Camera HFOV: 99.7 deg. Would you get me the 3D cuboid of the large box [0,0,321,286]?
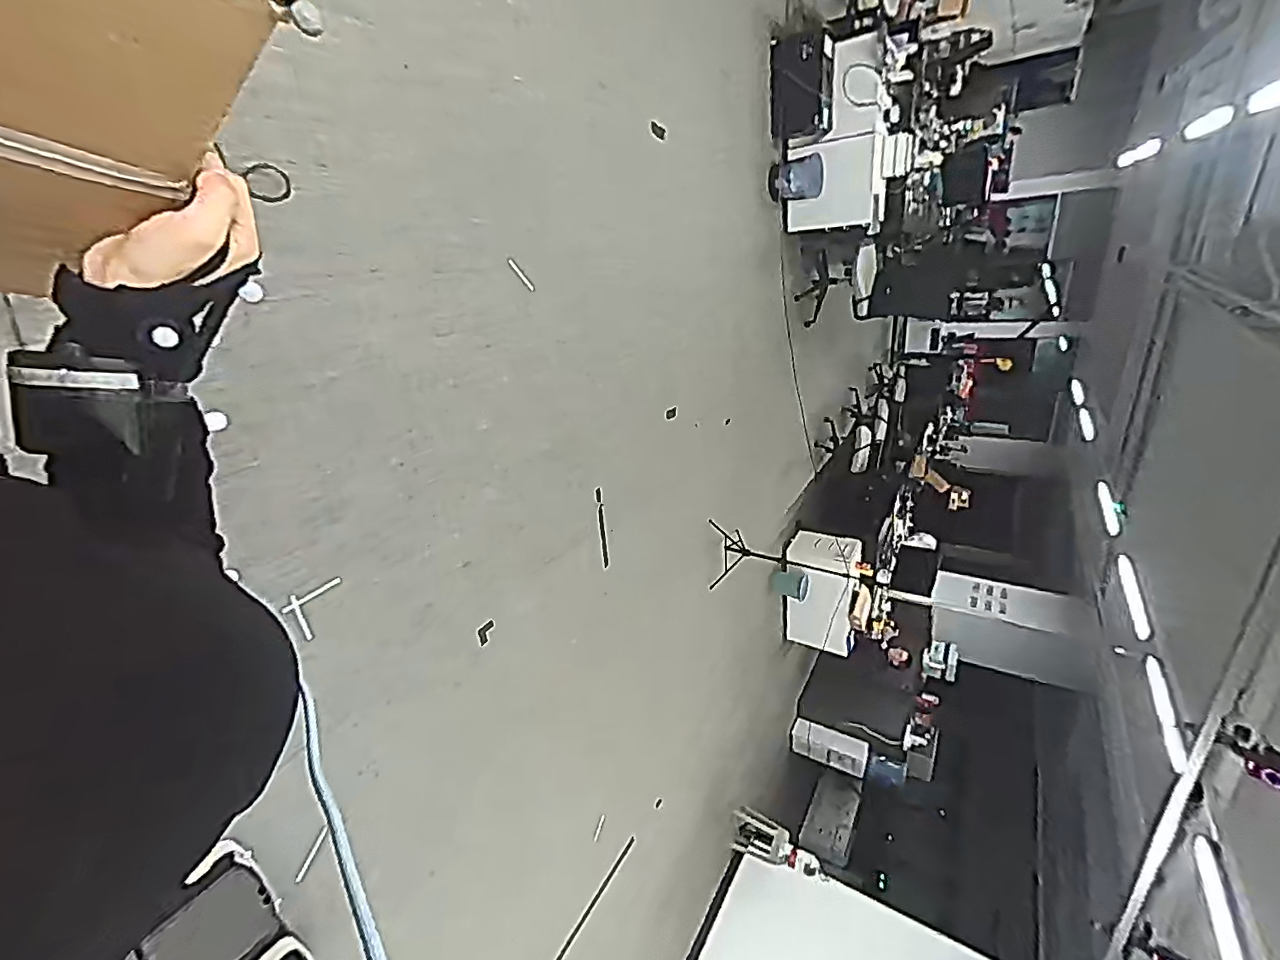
[{"bbox_3d":[-0.394,-0.308,0.163,0.408,0.320,0.320,-10,82,-56],"label":"large box"}]
